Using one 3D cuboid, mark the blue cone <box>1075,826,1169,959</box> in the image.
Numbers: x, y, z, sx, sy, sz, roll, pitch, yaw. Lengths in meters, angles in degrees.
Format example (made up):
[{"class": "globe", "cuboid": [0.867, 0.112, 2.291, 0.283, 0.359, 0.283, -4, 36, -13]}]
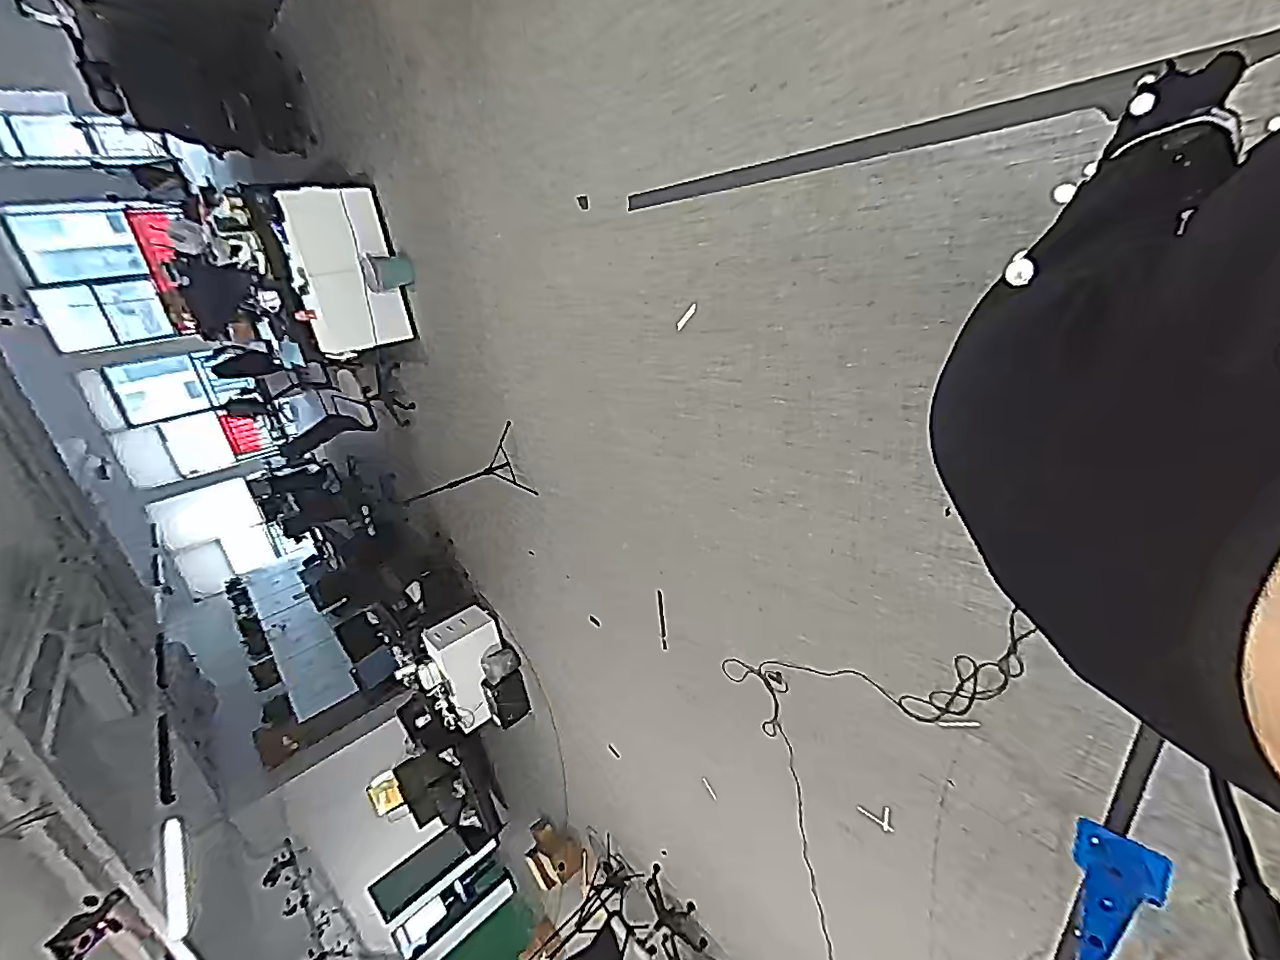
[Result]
[{"class": "blue cone", "cuboid": [1.226, 1.137, 1.419, 0.192, 0.380, 0.193, 14, 122, 46]}]
